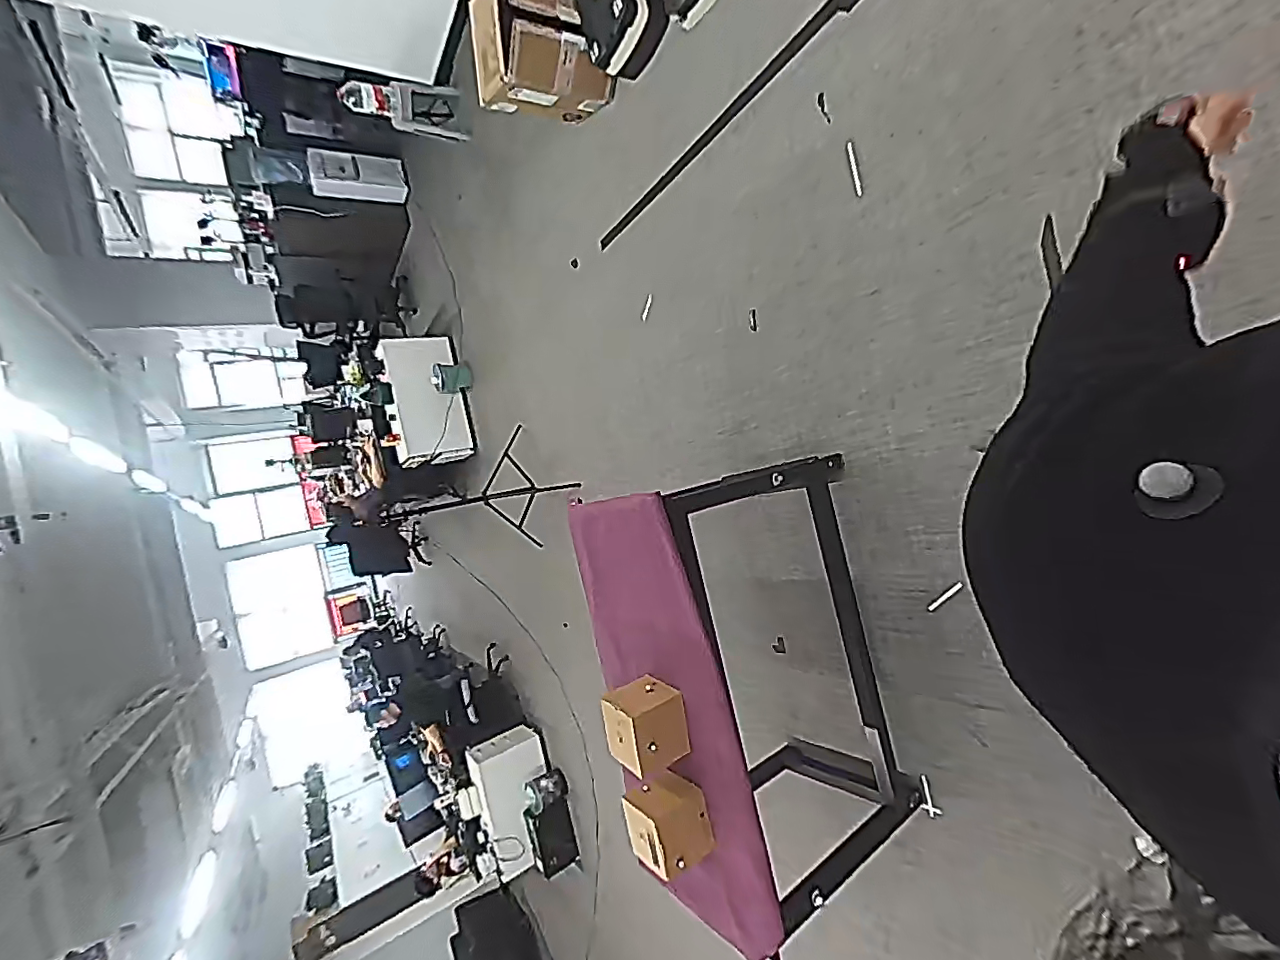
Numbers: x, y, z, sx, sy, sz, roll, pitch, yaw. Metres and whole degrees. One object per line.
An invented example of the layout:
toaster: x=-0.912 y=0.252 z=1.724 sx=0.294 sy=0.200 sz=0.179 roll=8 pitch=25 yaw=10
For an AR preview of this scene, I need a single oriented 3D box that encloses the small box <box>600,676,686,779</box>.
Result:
small box: x=0.012 y=0.674 z=1.495 sx=0.168 sy=0.176 sz=0.179 roll=0 pitch=101 yaw=56
